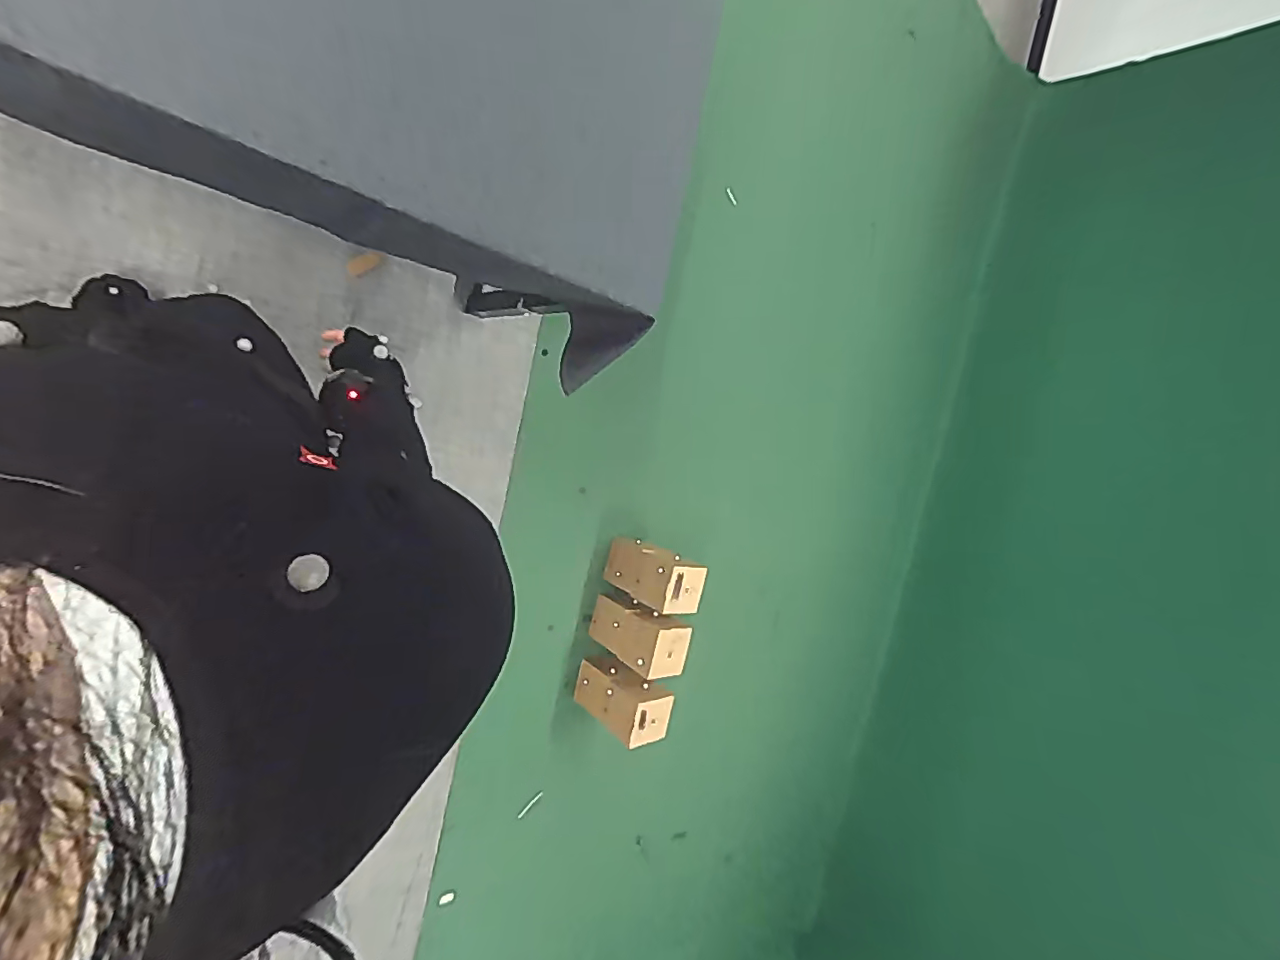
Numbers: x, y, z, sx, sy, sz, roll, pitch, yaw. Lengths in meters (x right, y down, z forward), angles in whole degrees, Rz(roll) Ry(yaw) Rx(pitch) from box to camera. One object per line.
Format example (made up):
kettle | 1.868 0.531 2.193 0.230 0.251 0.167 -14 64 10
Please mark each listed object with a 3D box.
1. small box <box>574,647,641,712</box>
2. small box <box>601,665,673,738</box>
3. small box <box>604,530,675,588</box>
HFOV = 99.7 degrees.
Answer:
small box | -0.120 0.743 2.038 0.179 0.176 0.168 9 97 -41
small box | -0.016 0.778 1.916 0.179 0.176 0.168 8 98 -42
small box | -0.006 0.292 2.007 0.179 0.176 0.168 15 93 -42
